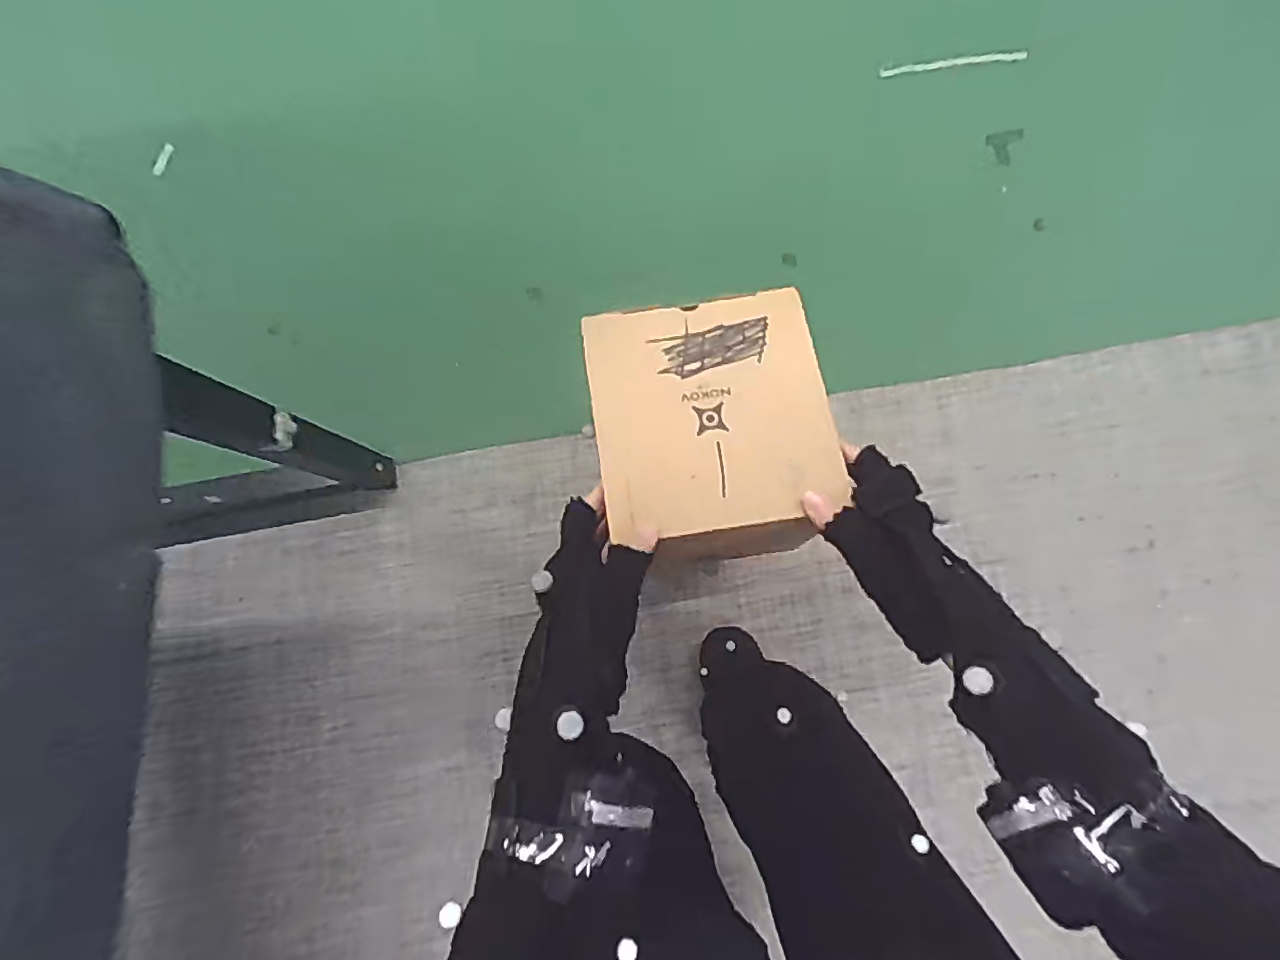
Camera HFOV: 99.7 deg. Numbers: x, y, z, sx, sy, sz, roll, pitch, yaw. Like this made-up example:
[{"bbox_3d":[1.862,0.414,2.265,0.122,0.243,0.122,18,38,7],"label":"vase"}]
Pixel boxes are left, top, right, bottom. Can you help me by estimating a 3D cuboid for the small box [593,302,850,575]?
[{"bbox_3d":[0.055,-0.023,0.467,0.168,0.176,0.179,-8,73,0],"label":"small box"}]
